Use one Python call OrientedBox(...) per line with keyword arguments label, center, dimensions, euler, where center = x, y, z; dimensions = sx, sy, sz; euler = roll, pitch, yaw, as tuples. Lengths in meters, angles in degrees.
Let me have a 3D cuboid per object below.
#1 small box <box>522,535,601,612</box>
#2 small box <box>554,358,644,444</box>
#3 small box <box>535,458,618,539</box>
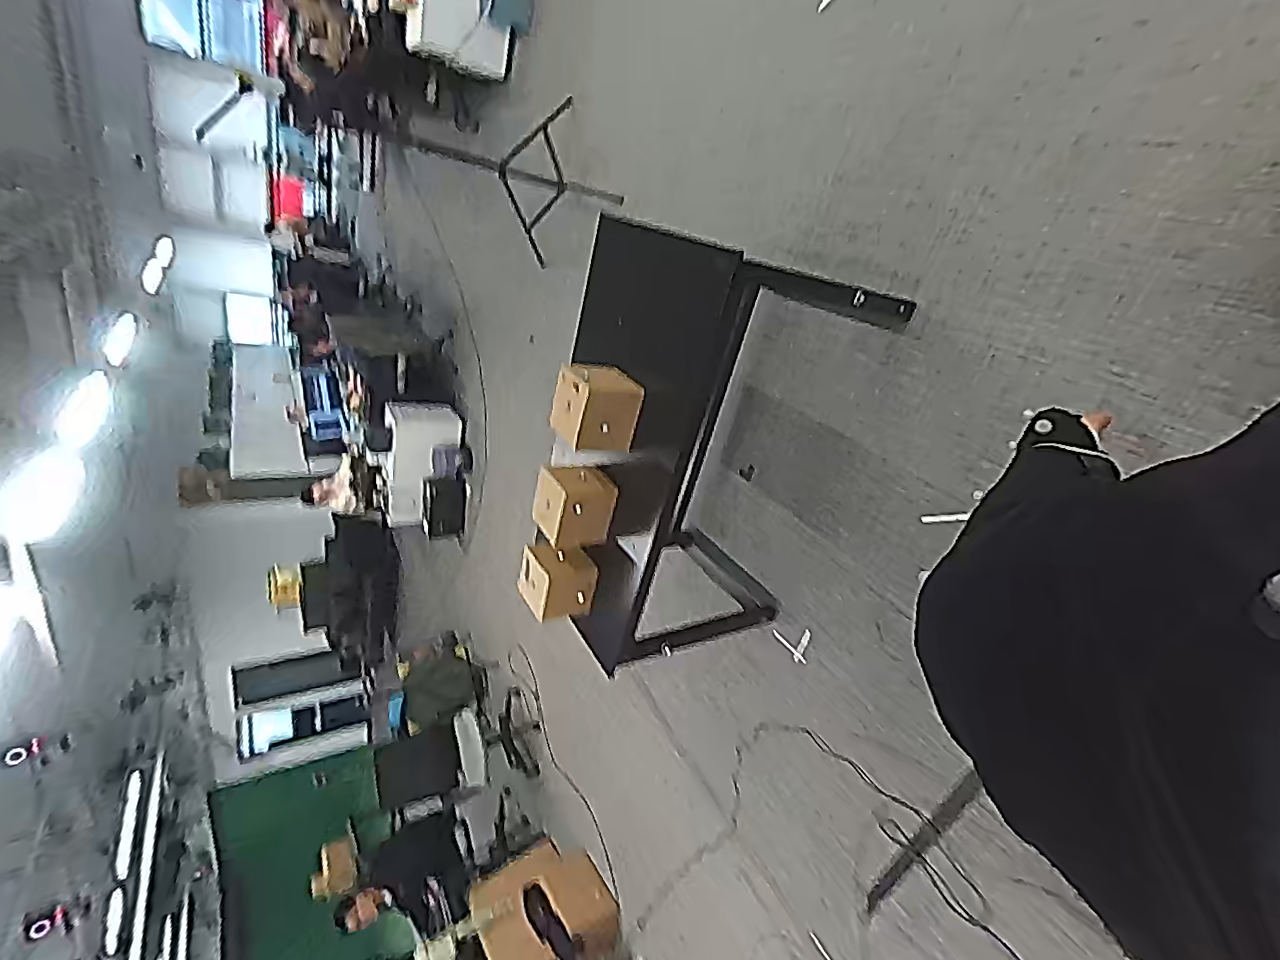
OrientedBox(label="small box", center=(-0.244, 0.280, 1.674), dimensions=(0.179, 0.176, 0.168), euler=(40, 125, 45))
OrientedBox(label="small box", center=(-0.109, -0.209, 1.438), dimensions=(0.168, 0.176, 0.179), euler=(45, 129, 44))
OrientedBox(label="small box", center=(-0.181, 0.046, 1.561), dimensions=(0.168, 0.176, 0.179), euler=(43, 126, 45))
